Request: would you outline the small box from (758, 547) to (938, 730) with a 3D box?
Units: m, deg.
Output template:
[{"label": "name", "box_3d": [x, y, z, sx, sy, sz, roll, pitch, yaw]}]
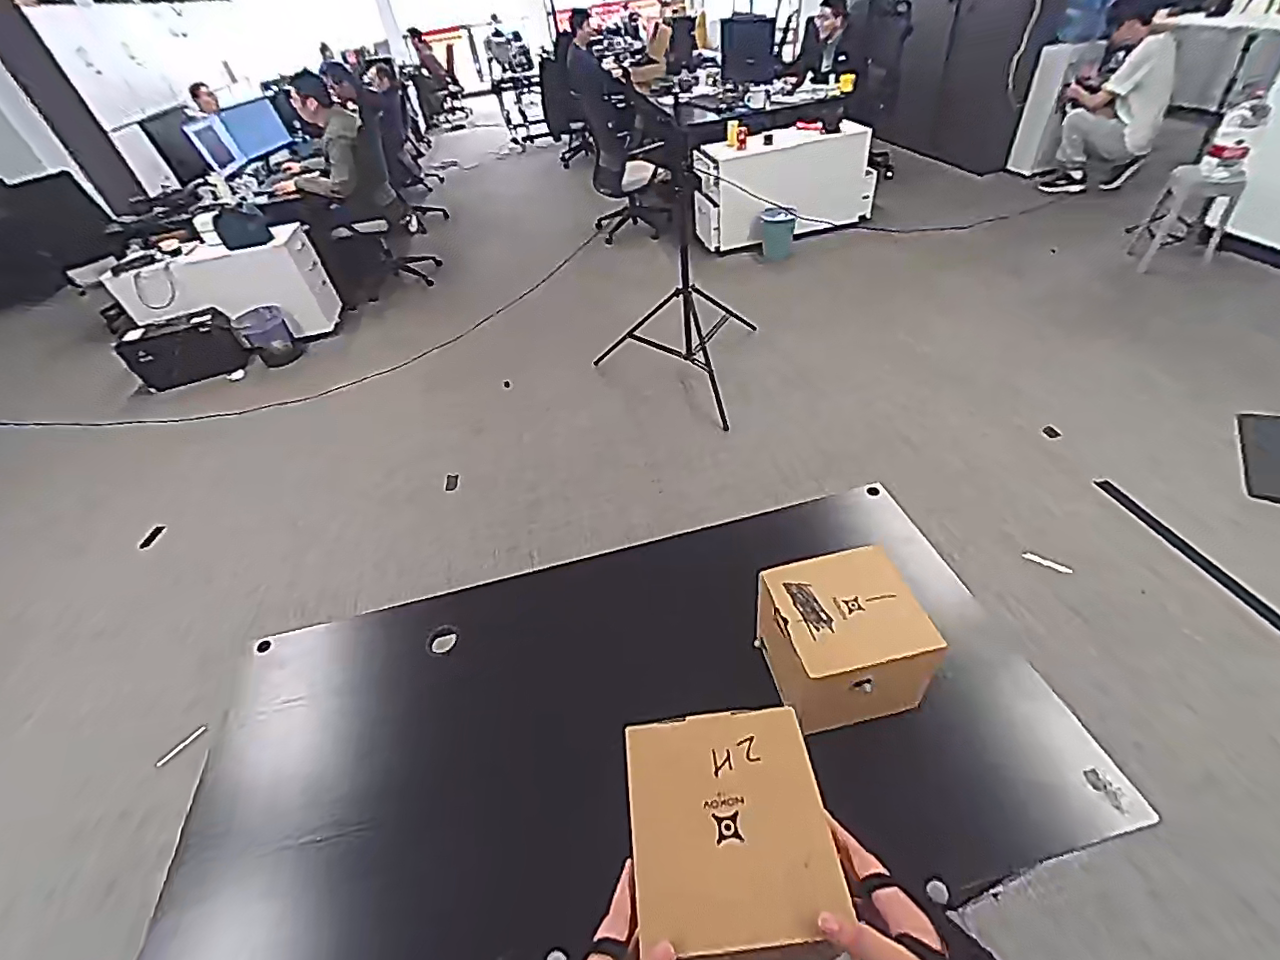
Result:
[{"label": "small box", "box_3d": [0.275, 0.225, 0.760, 0.179, 0.176, 0.168, -12, 43, -3]}]

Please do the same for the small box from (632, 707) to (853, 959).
[{"label": "small box", "box_3d": [0.085, 0.348, 0.522, 0.168, 0.176, 0.179, -6, 41, 0]}]
